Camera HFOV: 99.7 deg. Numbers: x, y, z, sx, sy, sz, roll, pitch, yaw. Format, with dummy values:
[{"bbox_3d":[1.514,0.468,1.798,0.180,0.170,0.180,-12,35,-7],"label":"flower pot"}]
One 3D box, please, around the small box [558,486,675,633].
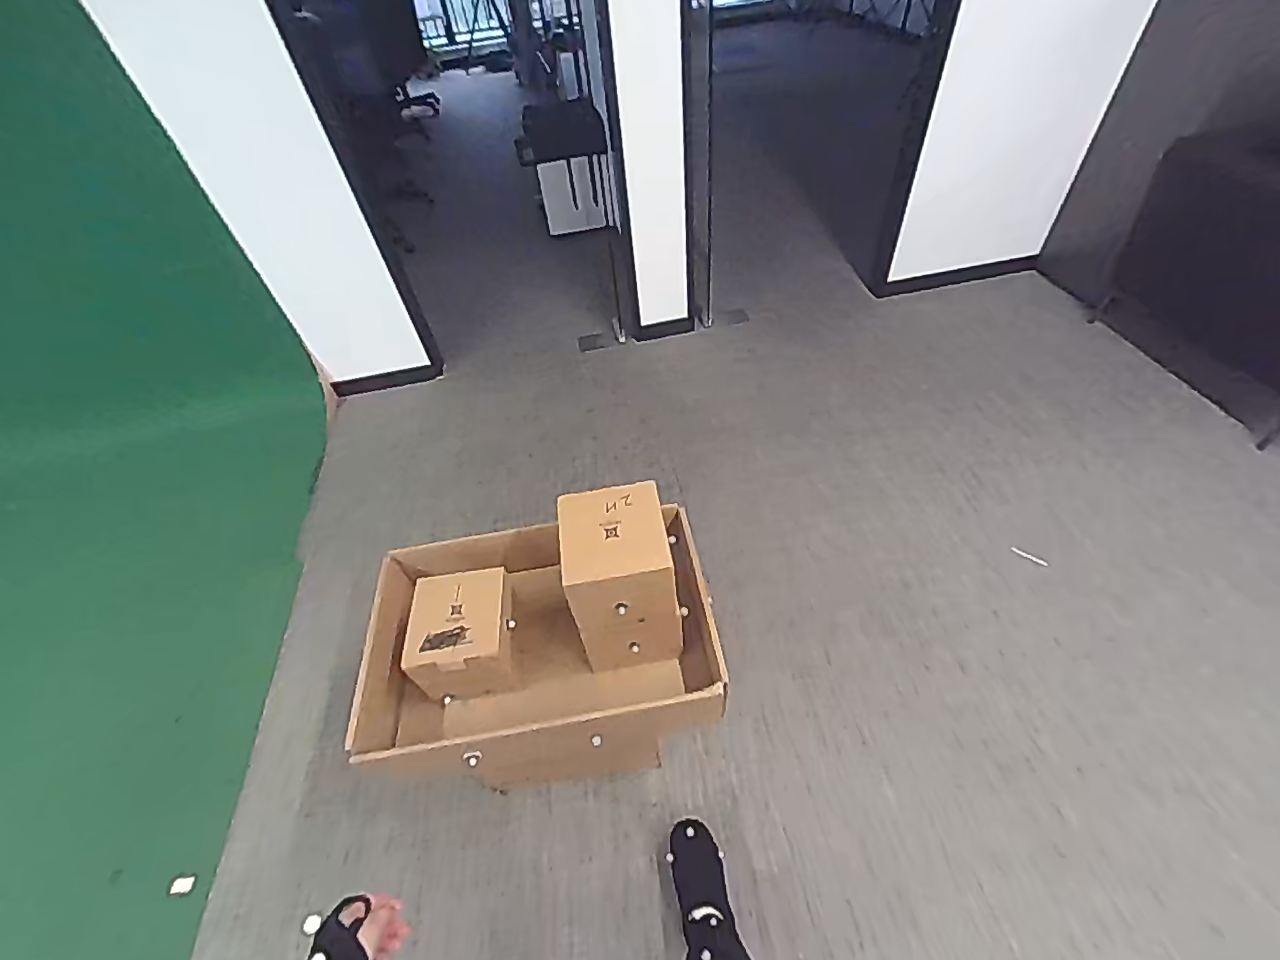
[{"bbox_3d":[-0.037,0.139,0.898,0.168,0.176,0.179,-9,48,-2],"label":"small box"}]
